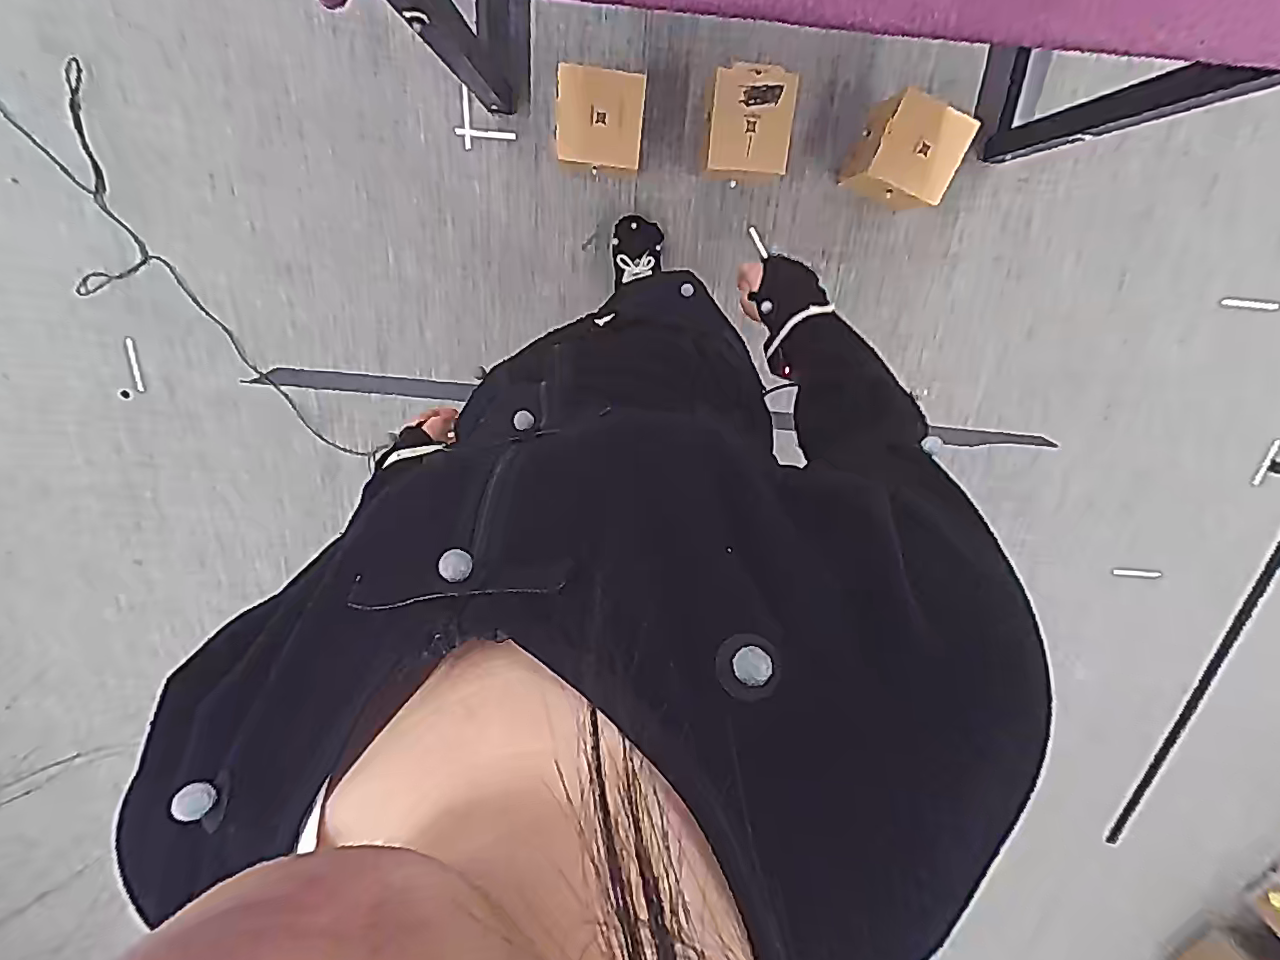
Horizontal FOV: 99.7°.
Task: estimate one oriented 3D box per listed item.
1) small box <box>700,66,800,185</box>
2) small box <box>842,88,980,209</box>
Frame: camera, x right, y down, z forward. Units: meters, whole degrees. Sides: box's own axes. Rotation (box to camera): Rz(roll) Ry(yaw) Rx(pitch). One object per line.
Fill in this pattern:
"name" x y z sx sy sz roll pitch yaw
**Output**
"small box" 0.224 -0.747 1.155 0.168 0.176 0.179 3 113 -2
"small box" 0.578 -0.708 1.179 0.179 0.176 0.168 20 110 -8
